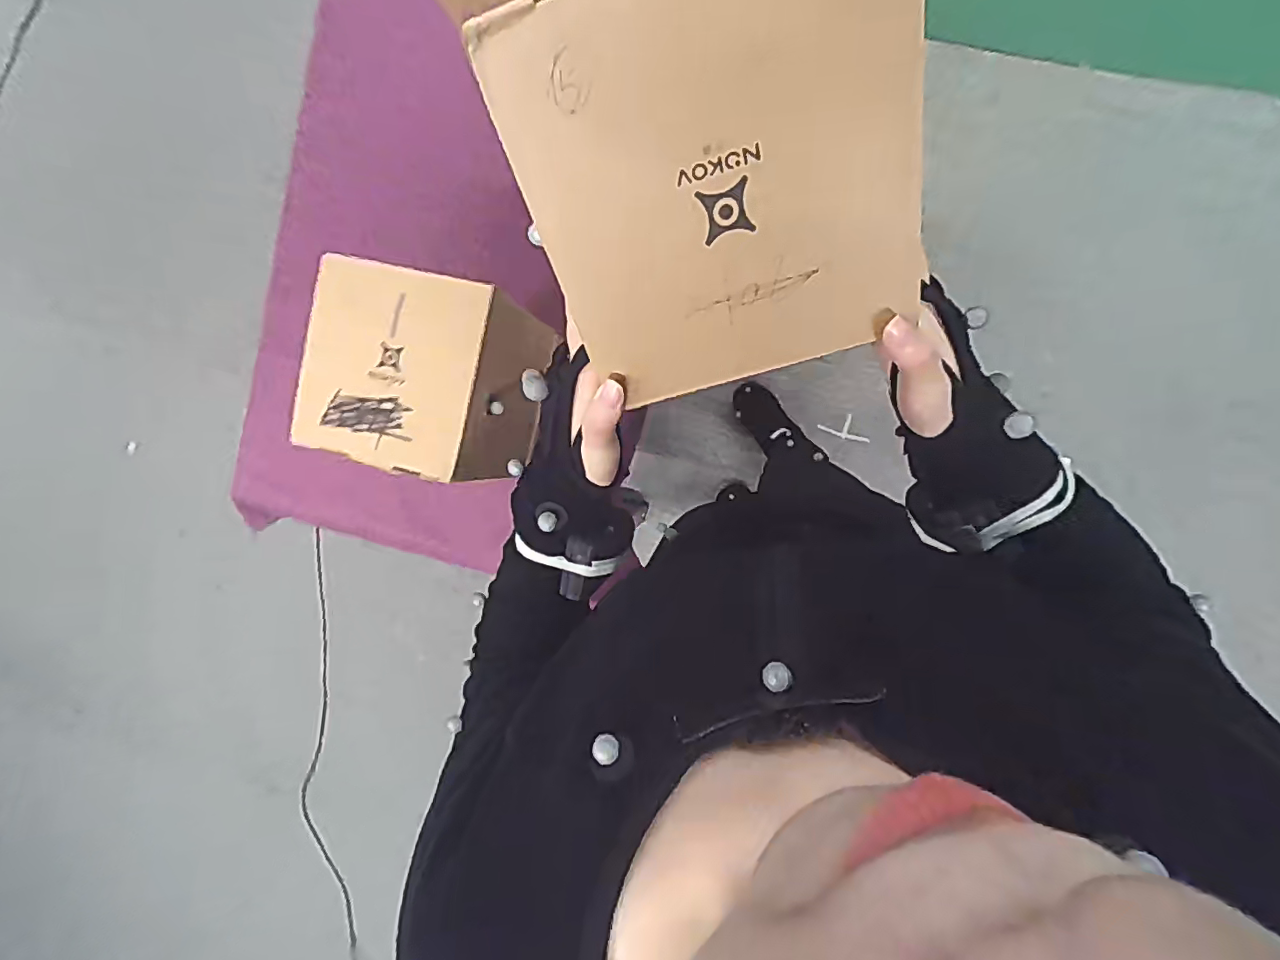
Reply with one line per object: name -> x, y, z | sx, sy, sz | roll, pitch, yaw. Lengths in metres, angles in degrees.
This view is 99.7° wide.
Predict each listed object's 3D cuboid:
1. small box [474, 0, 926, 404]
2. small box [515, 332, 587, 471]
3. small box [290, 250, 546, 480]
small box -> 0.037, -0.173, 0.298 | 0.168, 0.176, 0.179 | -12, 128, 11
small box -> -0.183, -0.113, 0.716 | 0.179, 0.176, 0.168 | 14, 94, 9
small box -> -0.210, -0.105, 0.554 | 0.168, 0.176, 0.179 | 14, 94, 9
